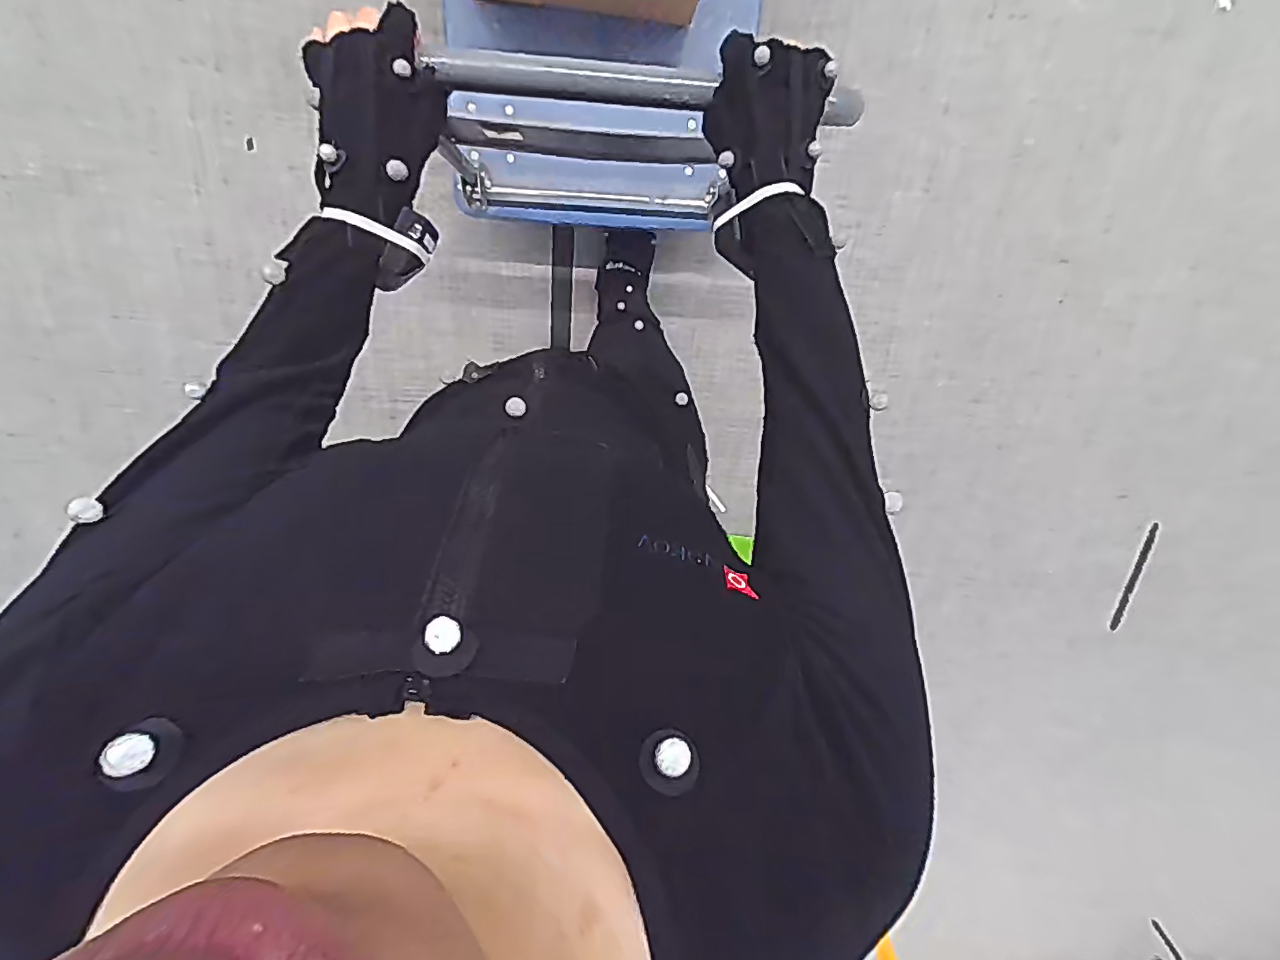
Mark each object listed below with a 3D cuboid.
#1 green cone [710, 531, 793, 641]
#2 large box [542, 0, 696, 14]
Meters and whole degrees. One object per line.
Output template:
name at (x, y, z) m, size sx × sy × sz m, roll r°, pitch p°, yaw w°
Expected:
green cone at (0.333, 0.311, 1.471) m, size 0.202 × 0.368 × 0.200 m, roll 6°, pitch 111°, yaw -7°
large box at (-0.084, -0.954, 0.799) m, size 0.408 × 0.320 × 0.320 m, roll 4°, pitch 111°, yaw -4°
